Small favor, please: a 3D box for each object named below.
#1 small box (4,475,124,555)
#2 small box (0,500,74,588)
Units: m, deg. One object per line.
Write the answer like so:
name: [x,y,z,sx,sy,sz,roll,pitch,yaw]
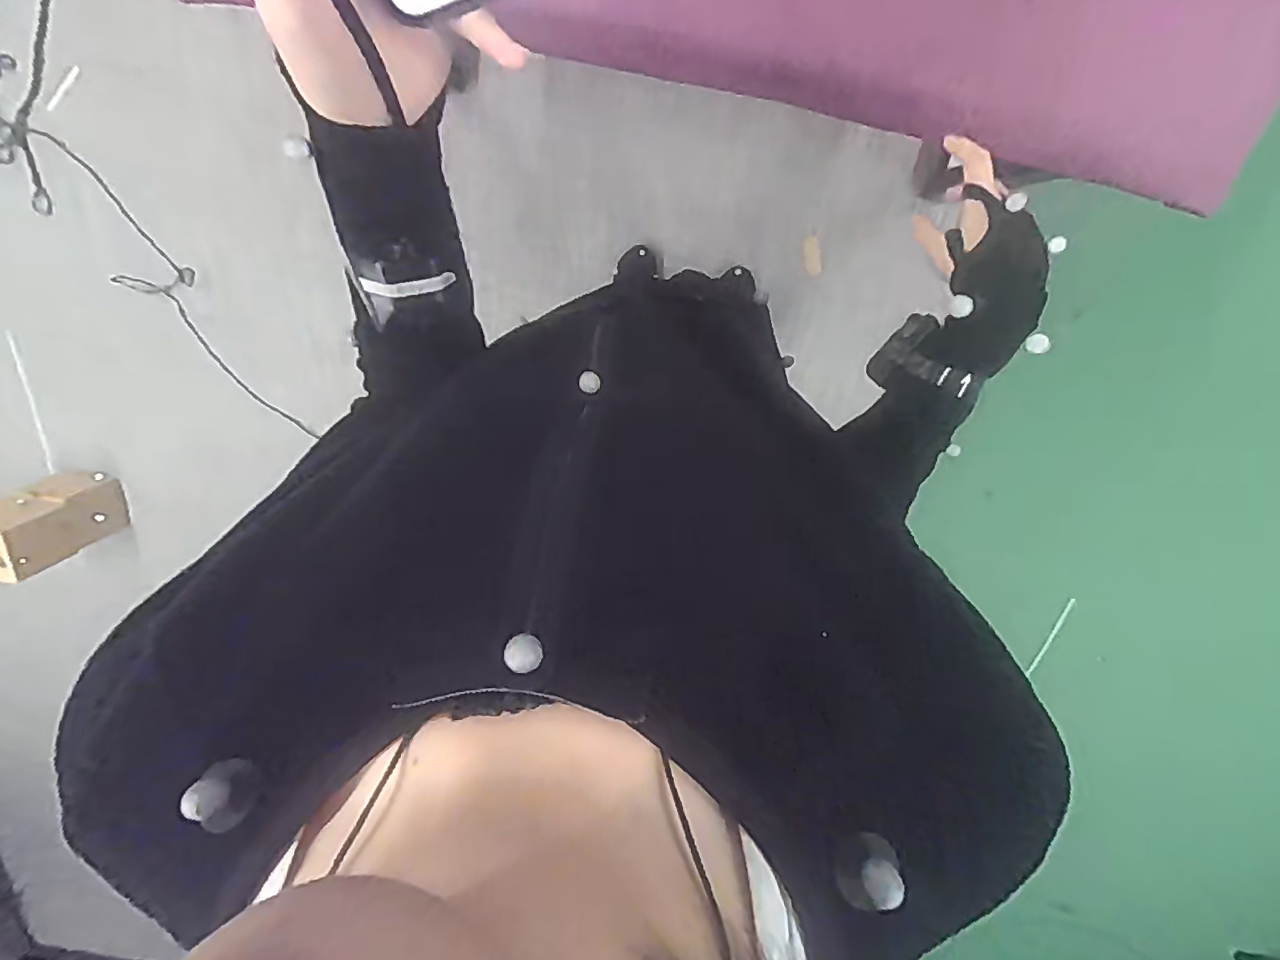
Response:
small box: [-1.723,0.099,1.630,0.168,0.176,0.179,10,113,0]
small box: [-1.734,0.168,1.481,0.179,0.176,0.168,12,113,0]
